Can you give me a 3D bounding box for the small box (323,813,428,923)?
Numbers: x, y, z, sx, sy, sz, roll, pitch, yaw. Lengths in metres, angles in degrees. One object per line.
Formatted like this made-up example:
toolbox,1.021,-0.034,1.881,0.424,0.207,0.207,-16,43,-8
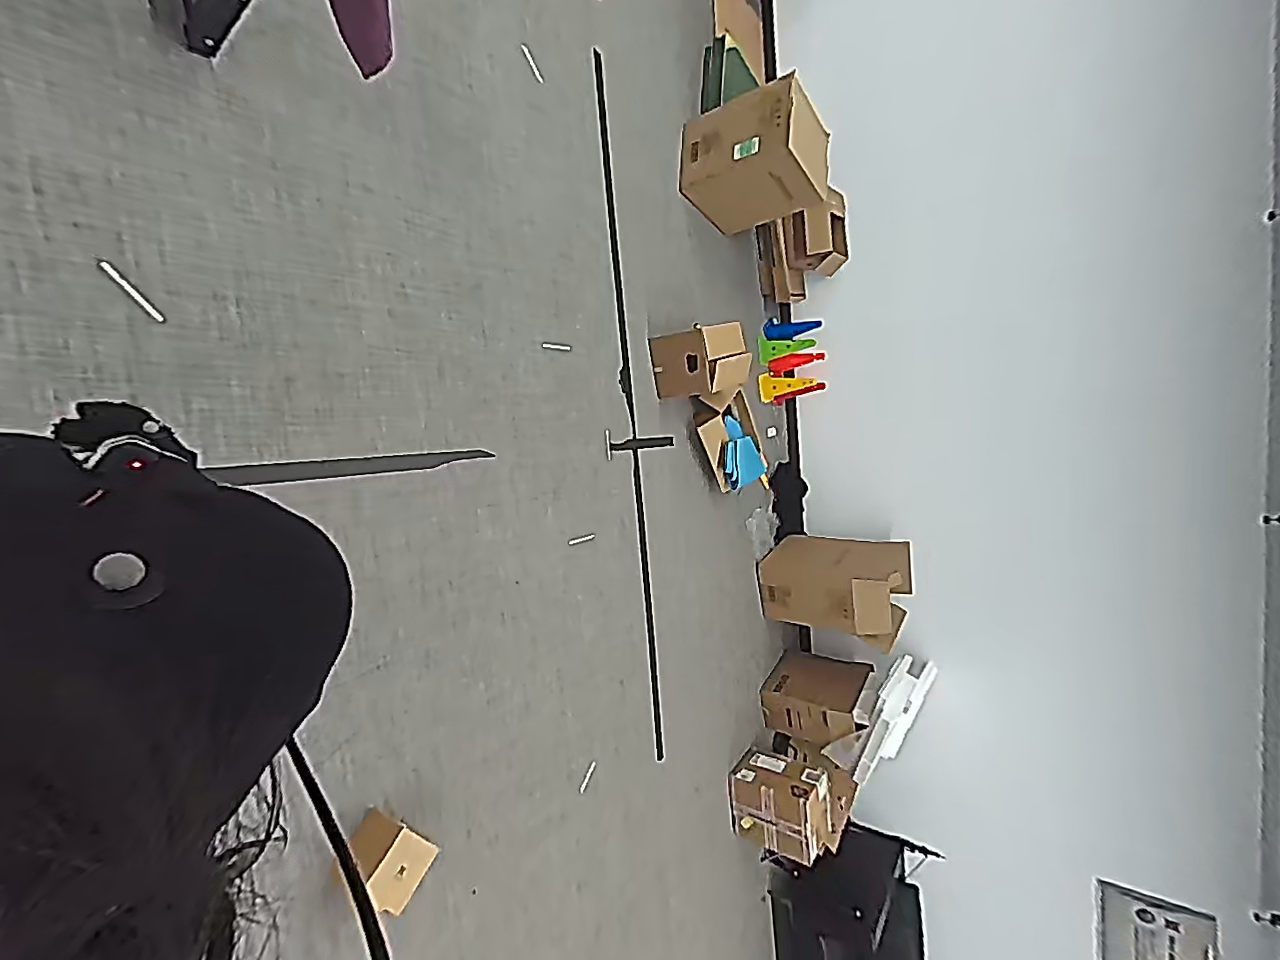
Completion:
small box,-0.735,1.065,1.493,0.179,0.176,0.168,-59,134,-37
